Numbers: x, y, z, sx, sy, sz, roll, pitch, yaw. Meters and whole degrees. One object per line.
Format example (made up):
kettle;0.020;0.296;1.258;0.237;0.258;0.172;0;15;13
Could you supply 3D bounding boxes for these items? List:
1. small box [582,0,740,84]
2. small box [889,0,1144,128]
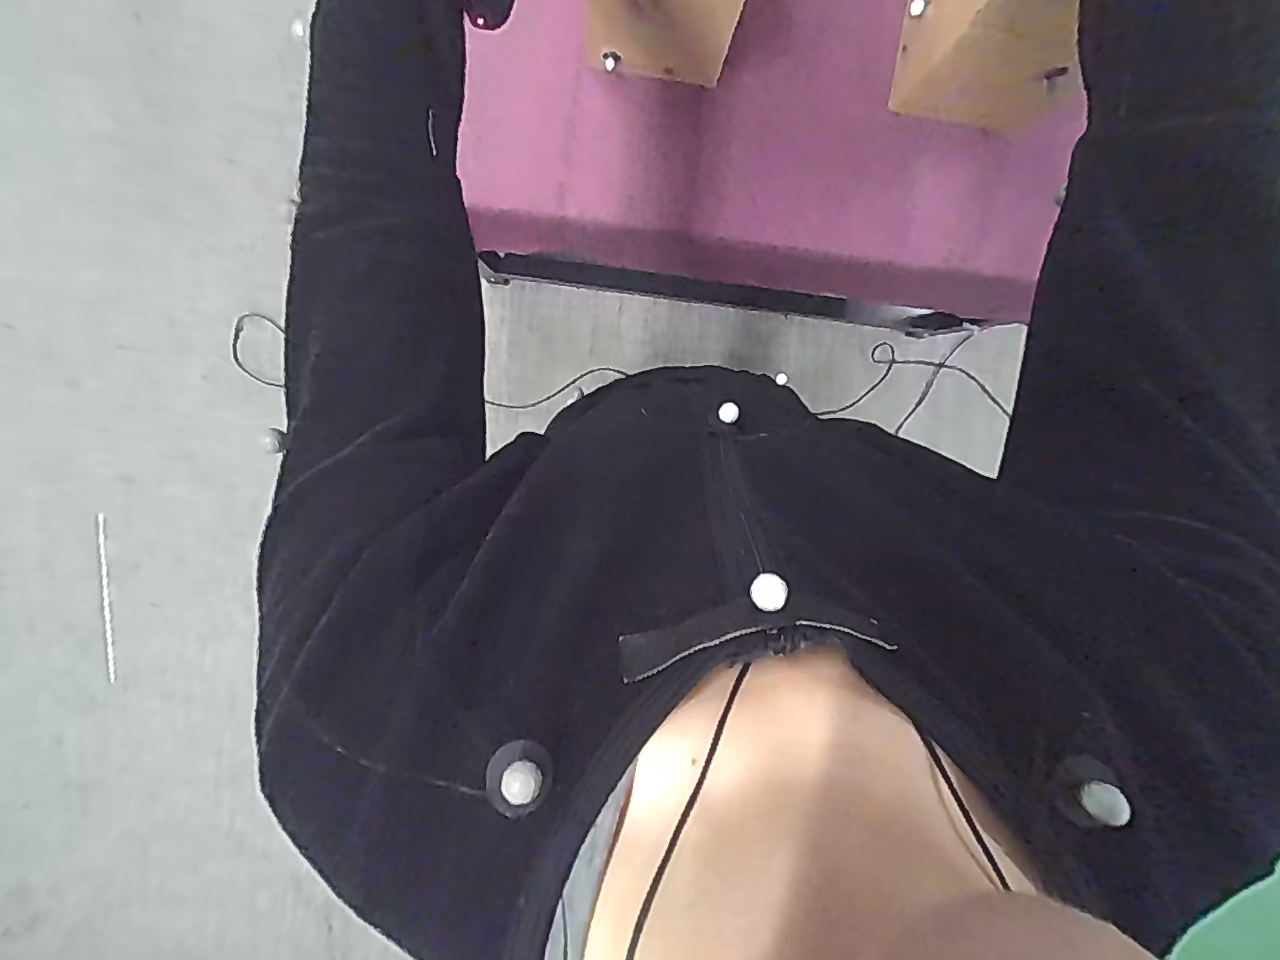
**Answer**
small box;0.028;-0.572;0.583;0.168;0.176;0.179;6;98;-4
small box;0.418;-0.530;0.609;0.179;0.176;0.168;7;99;-4
